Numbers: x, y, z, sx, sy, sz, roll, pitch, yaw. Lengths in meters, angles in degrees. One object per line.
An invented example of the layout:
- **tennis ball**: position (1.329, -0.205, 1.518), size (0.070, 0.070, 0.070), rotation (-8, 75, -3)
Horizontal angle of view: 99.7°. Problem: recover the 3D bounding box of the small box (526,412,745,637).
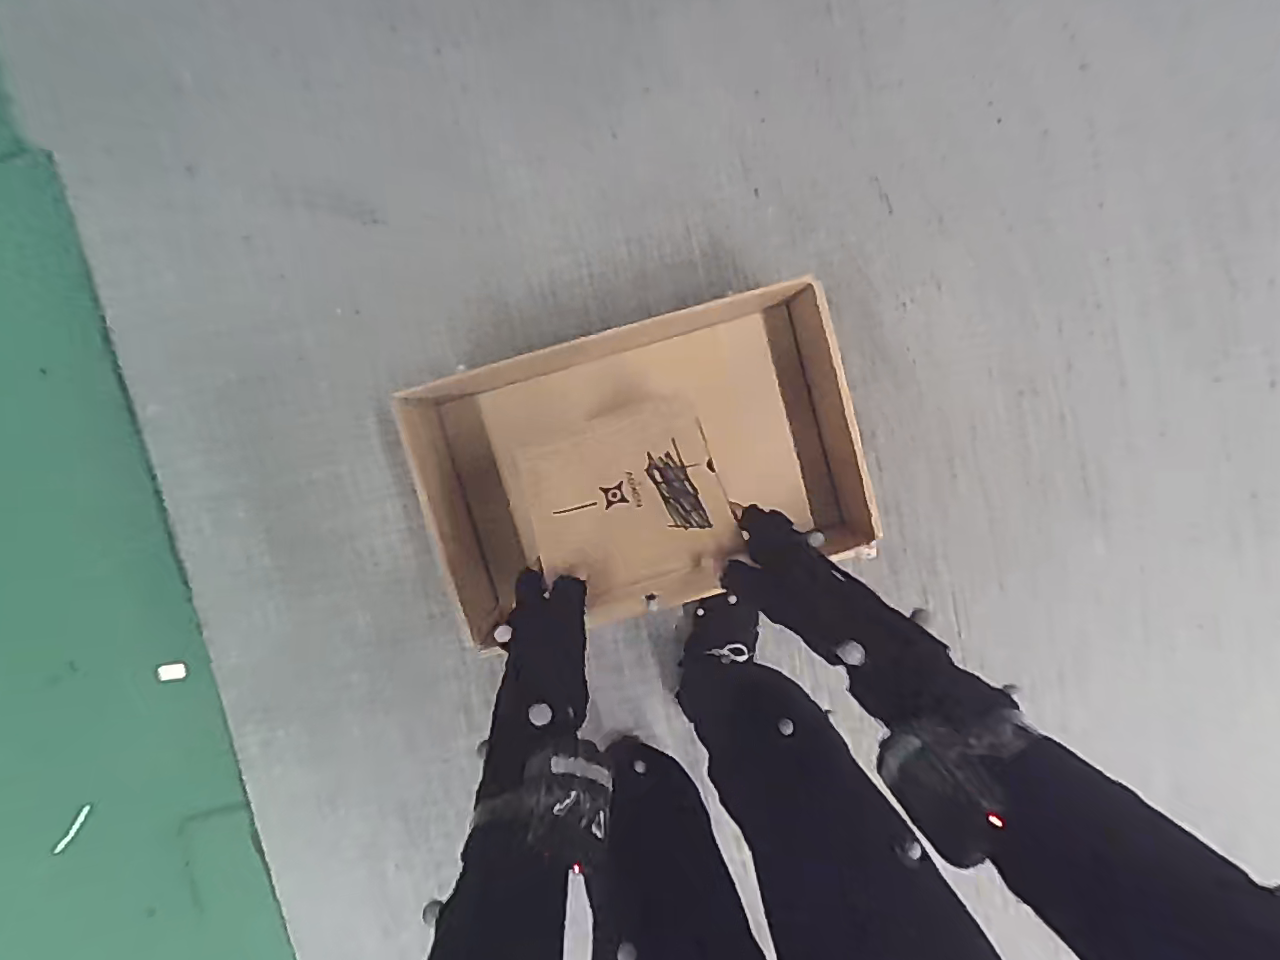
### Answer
- **small box**: position (-0.001, 0.057, 0.573), size (0.179, 0.176, 0.168), rotation (-17, 66, 2)
